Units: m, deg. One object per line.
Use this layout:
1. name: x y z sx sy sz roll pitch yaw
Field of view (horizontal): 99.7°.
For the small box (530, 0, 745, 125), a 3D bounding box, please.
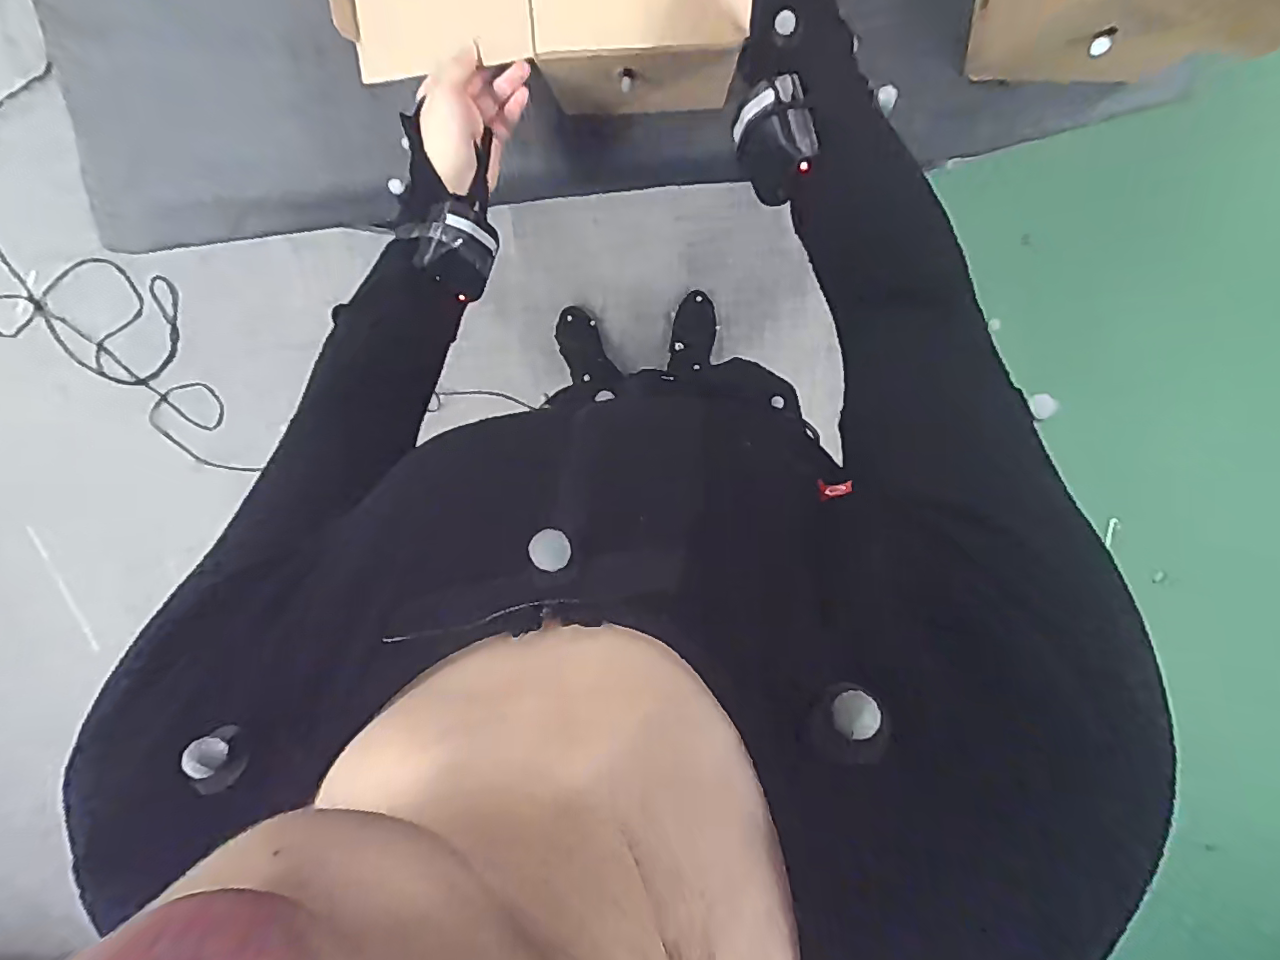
1. small box: 0.001 -0.443 0.496 0.179 0.176 0.168 -1 110 2
